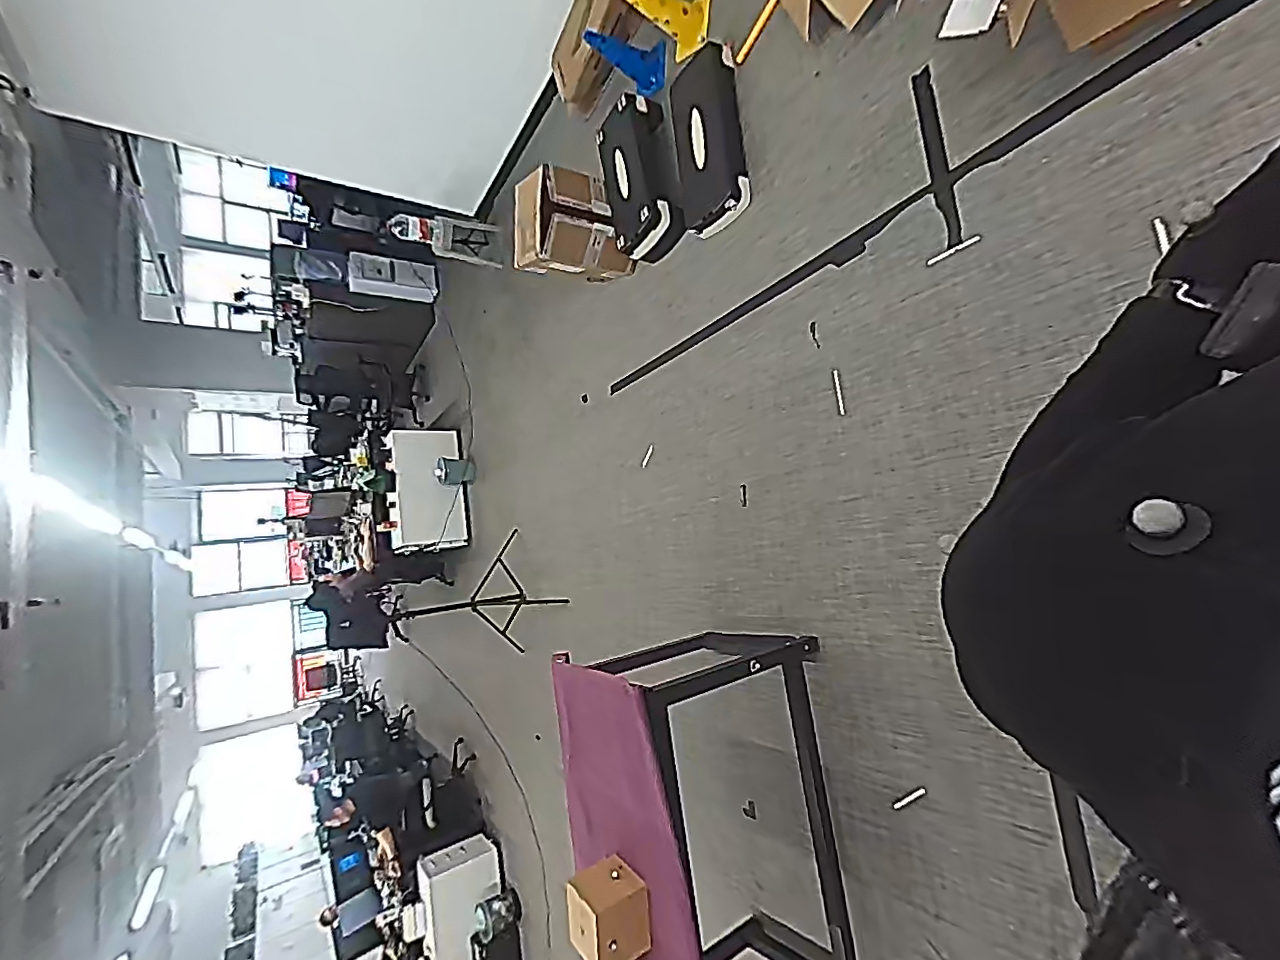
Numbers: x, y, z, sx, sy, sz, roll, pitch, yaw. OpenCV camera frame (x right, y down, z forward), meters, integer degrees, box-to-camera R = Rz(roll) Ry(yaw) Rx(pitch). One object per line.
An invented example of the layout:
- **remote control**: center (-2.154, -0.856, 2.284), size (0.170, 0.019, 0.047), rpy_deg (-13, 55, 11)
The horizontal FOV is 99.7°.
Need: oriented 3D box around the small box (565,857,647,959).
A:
- **small box**: center (-0.091, 1.200, 1.495), size (0.168, 0.176, 0.179), rpy_deg (-5, 88, 55)
